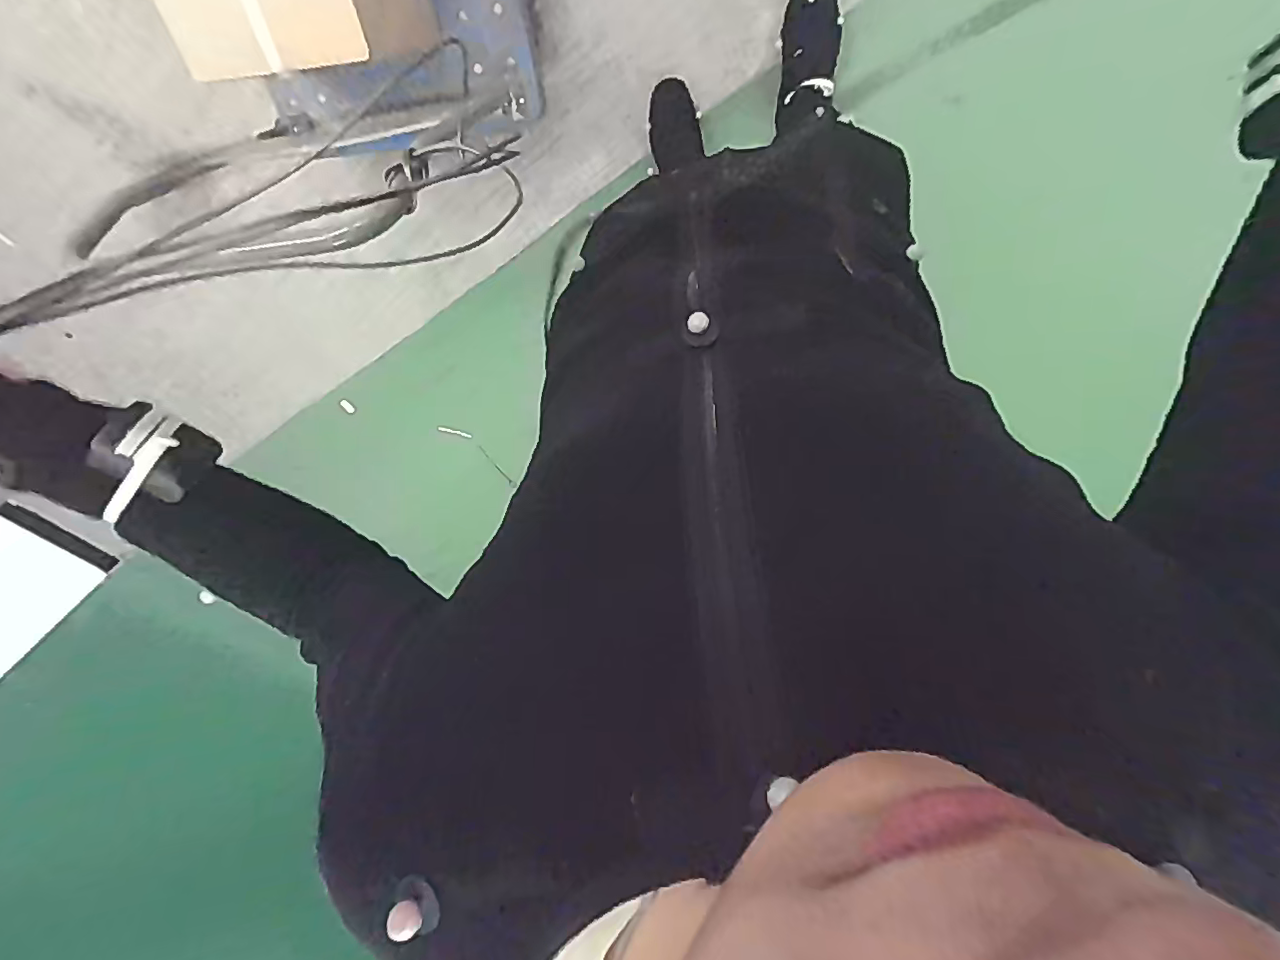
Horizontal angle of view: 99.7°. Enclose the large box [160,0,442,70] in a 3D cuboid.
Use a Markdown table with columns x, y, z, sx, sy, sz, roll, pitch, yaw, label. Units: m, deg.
| x | y | z | sx | sy | sz | roll | pitch | yaw | label |
| --- | --- | --- | --- | --- | --- | --- | --- | --- | --- |
| -0.558 | -0.897 | 0.817 | 0.320 | 0.320 | 0.408 | -1 | 131 | 7 | large box |
